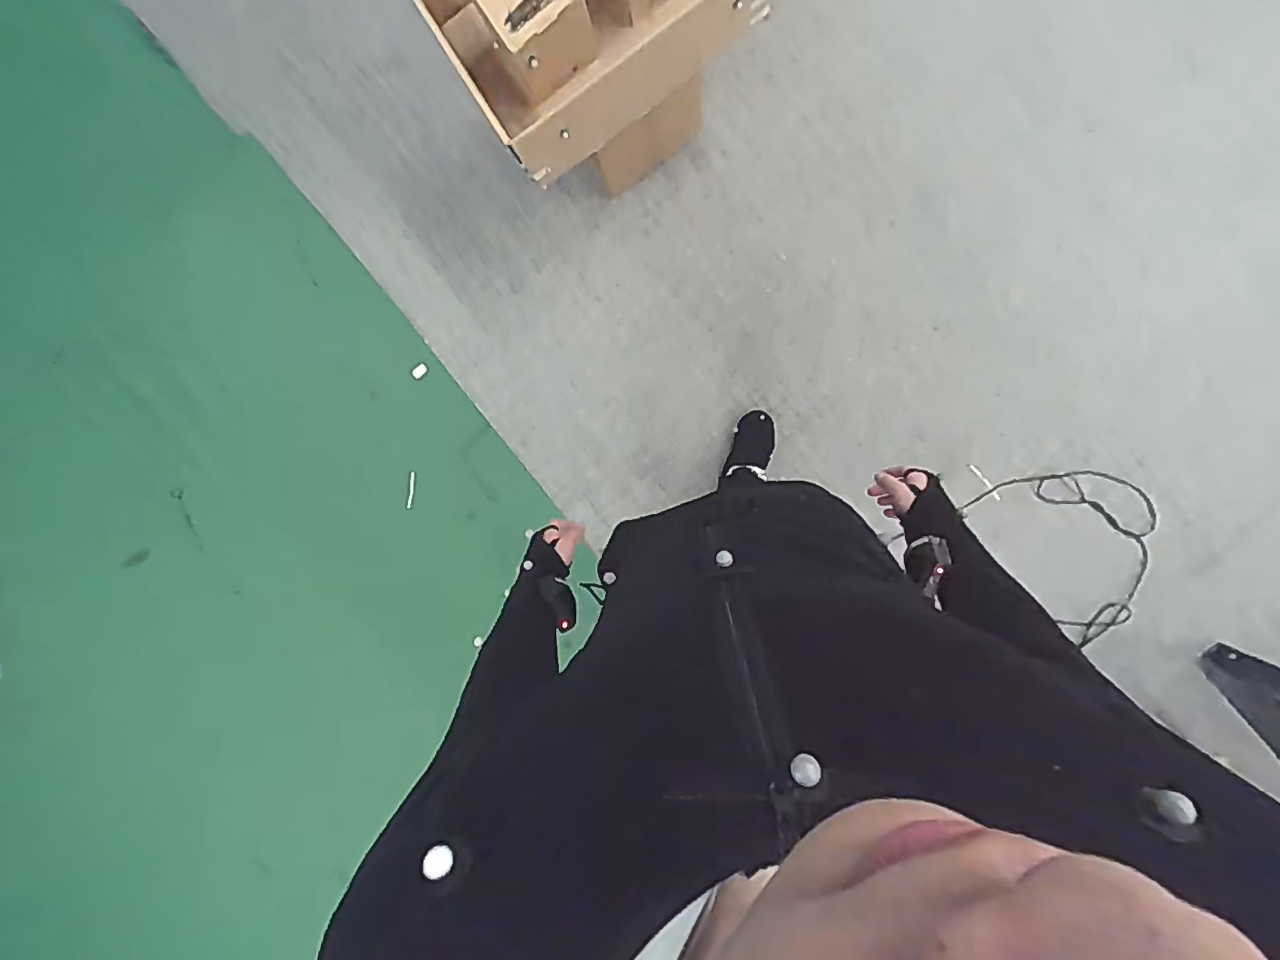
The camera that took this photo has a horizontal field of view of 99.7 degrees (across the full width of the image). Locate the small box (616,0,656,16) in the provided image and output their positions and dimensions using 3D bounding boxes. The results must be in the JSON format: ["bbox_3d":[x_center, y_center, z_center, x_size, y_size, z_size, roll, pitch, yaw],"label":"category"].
[{"bbox_3d":[-0.010,-1.053,1.021,0.168,0.176,0.179,-33,93,8],"label":"small box"}]
